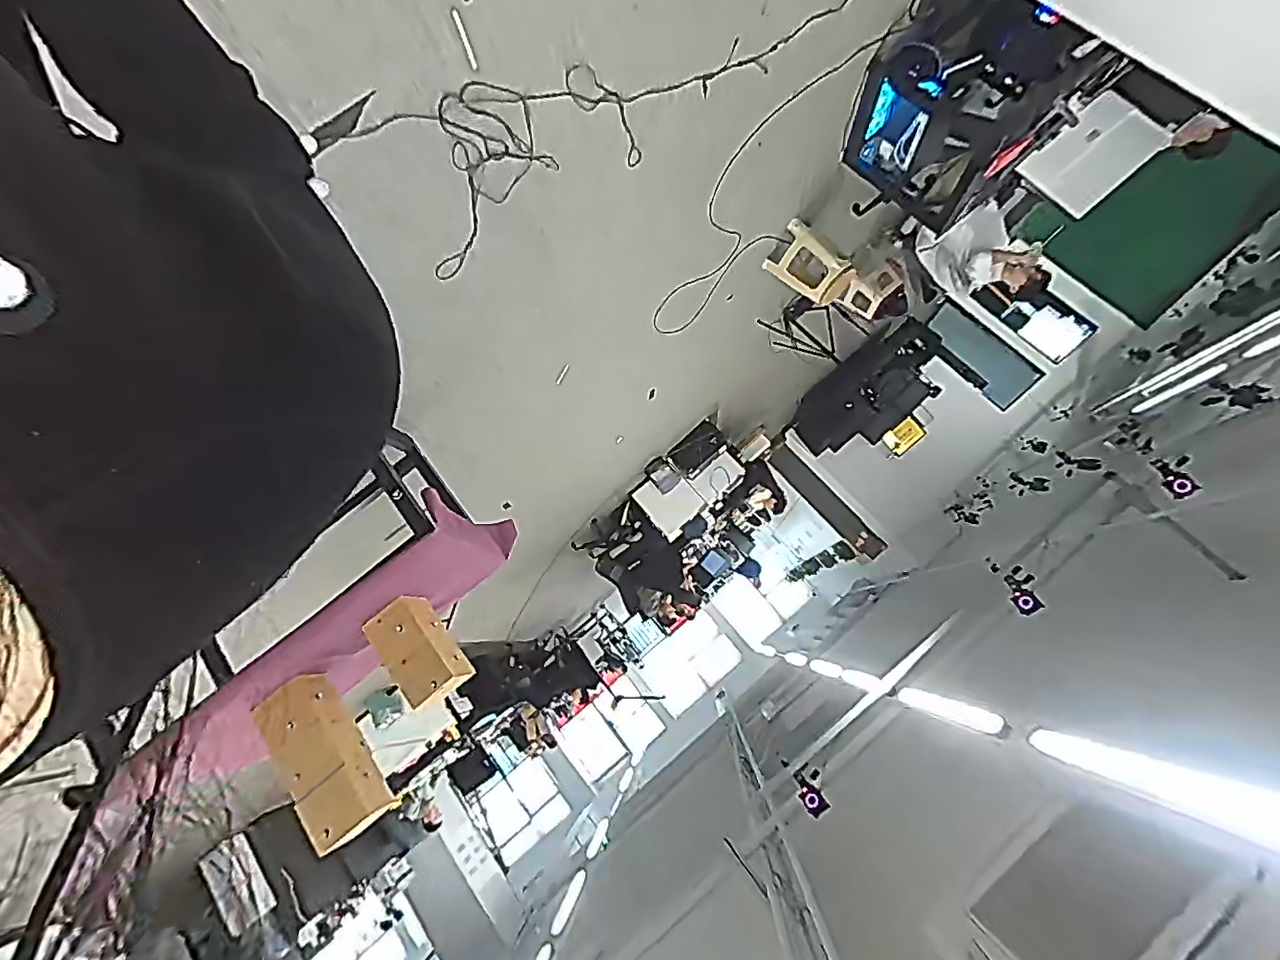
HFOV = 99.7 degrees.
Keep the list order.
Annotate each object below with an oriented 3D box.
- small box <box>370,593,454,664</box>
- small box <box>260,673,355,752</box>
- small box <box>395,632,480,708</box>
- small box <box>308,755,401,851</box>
[{"bbox_3d":[-0.781,0.505,1.849,0.168,0.176,0.179,-40,165,-5],"label":"small box"},{"bbox_3d":[-1.093,0.751,1.776,0.179,0.176,0.168,-38,163,-7],"label":"small box"},{"bbox_3d":[-0.677,0.627,1.812,0.168,0.176,0.179,-41,166,-3],"label":"small box"},{"bbox_3d":[-0.892,0.995,1.682,0.179,0.176,0.168,-40,164,-7],"label":"small box"}]
